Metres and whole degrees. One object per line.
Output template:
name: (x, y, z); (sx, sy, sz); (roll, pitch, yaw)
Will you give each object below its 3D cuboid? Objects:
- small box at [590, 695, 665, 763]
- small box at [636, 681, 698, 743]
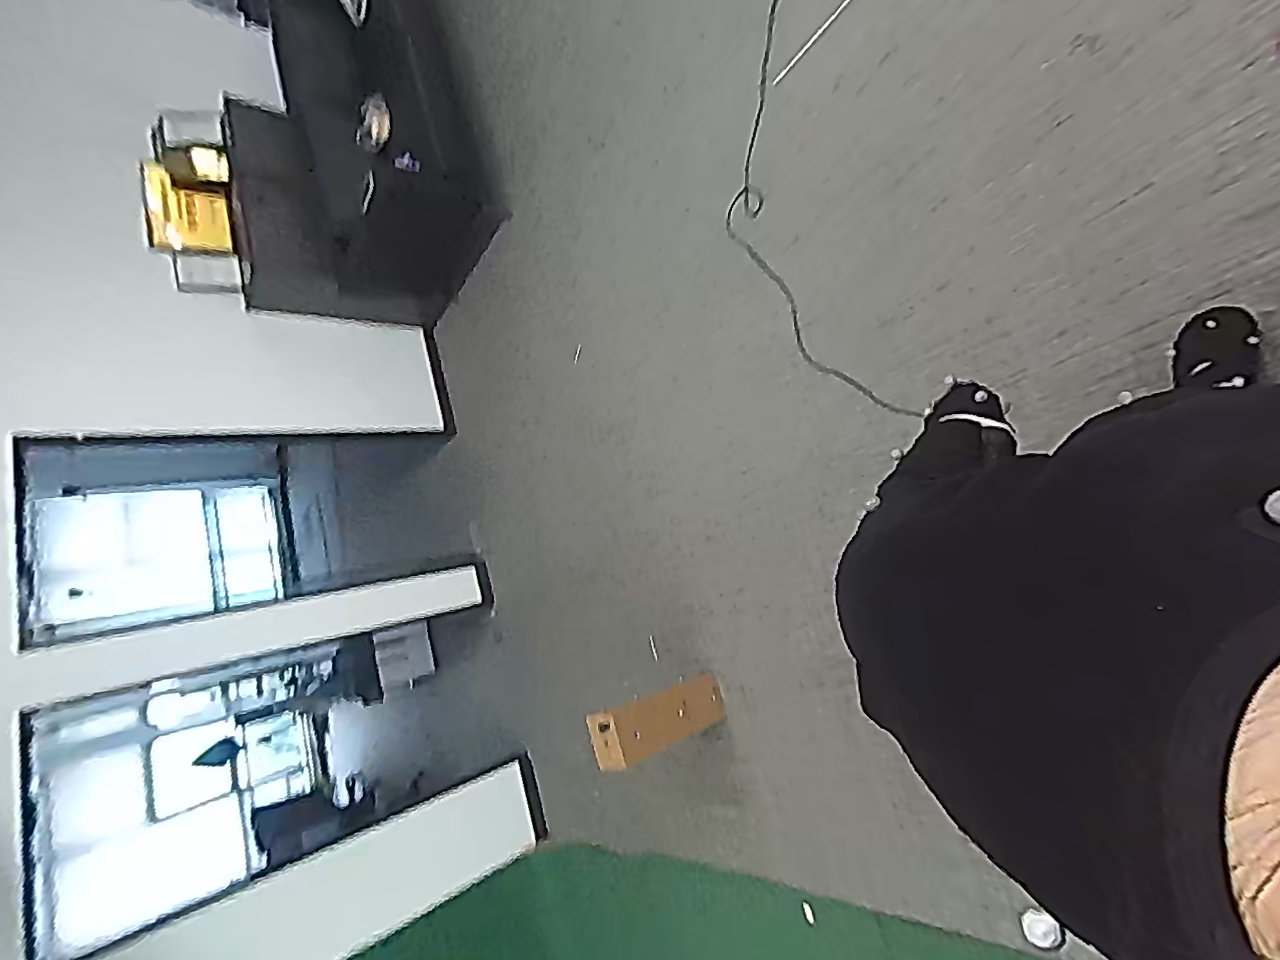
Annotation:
small box: (-0.042, 0.858, 1.877); (0.168, 0.176, 0.179); (-31, 71, 46)
small box: (0.081, 0.856, 1.987); (0.179, 0.176, 0.168); (-34, 69, 44)
